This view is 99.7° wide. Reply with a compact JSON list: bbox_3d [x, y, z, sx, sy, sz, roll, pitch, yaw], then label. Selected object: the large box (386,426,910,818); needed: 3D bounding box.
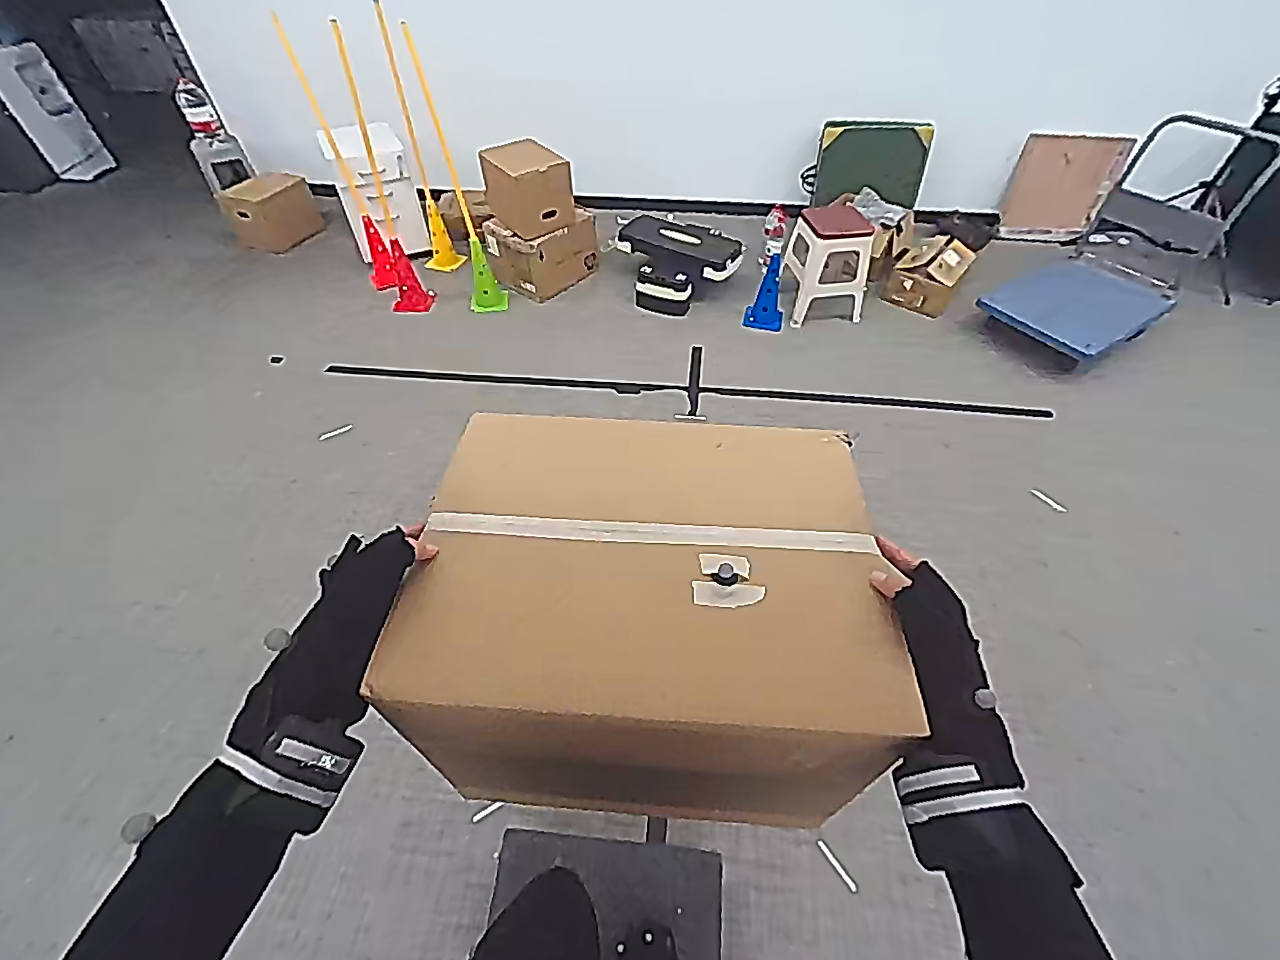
[{"bbox_3d":[0.009,0.161,0.611,0.408,0.320,0.320,4,48,2],"label":"large box"}]
